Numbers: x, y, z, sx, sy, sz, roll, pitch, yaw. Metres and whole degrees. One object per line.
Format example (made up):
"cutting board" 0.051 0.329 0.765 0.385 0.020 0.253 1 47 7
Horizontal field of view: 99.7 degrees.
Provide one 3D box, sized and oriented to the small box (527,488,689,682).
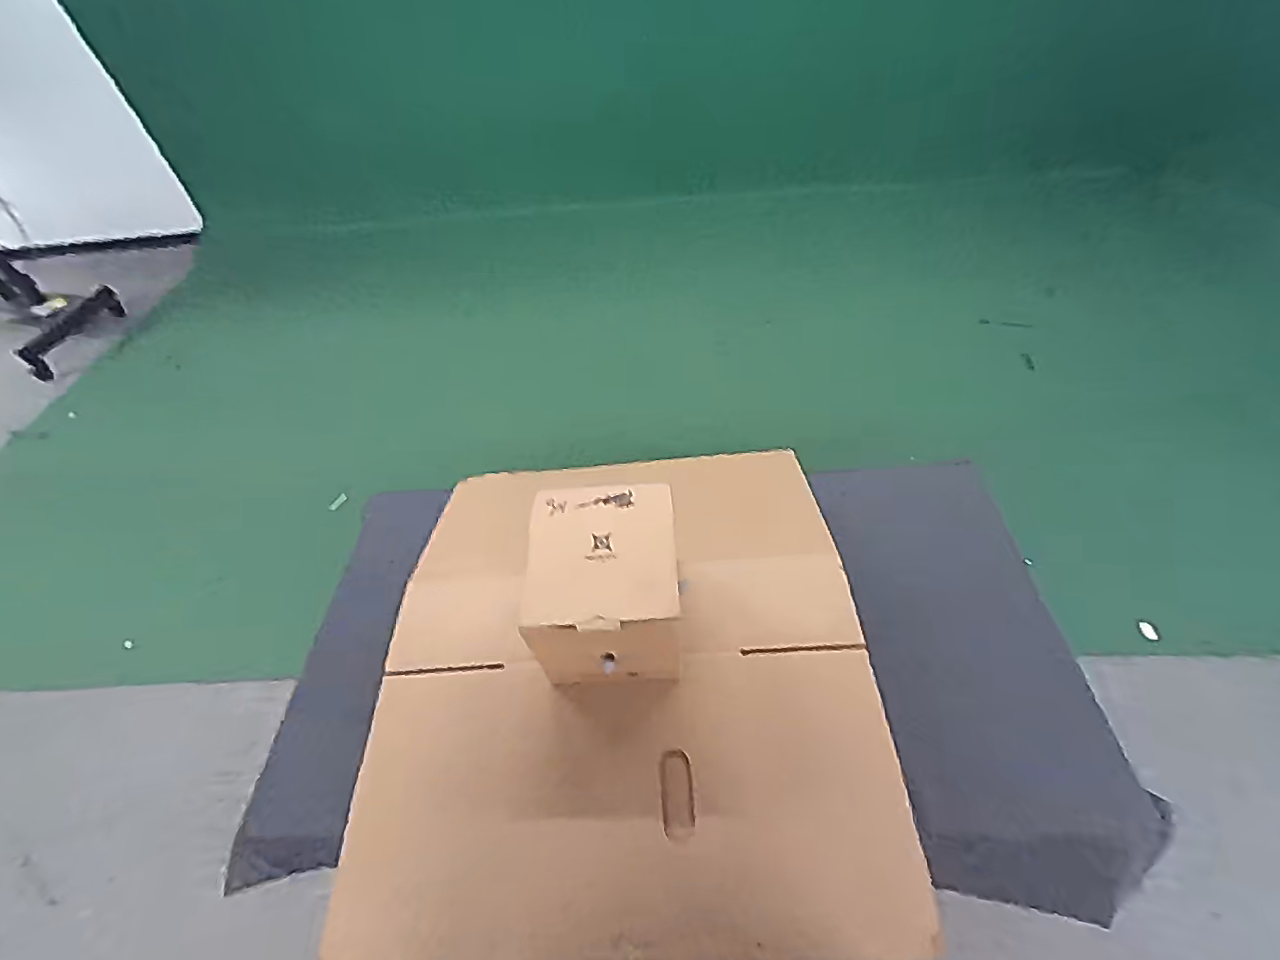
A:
"small box" -0.031 0.134 0.657 0.168 0.176 0.179 -6 50 2
